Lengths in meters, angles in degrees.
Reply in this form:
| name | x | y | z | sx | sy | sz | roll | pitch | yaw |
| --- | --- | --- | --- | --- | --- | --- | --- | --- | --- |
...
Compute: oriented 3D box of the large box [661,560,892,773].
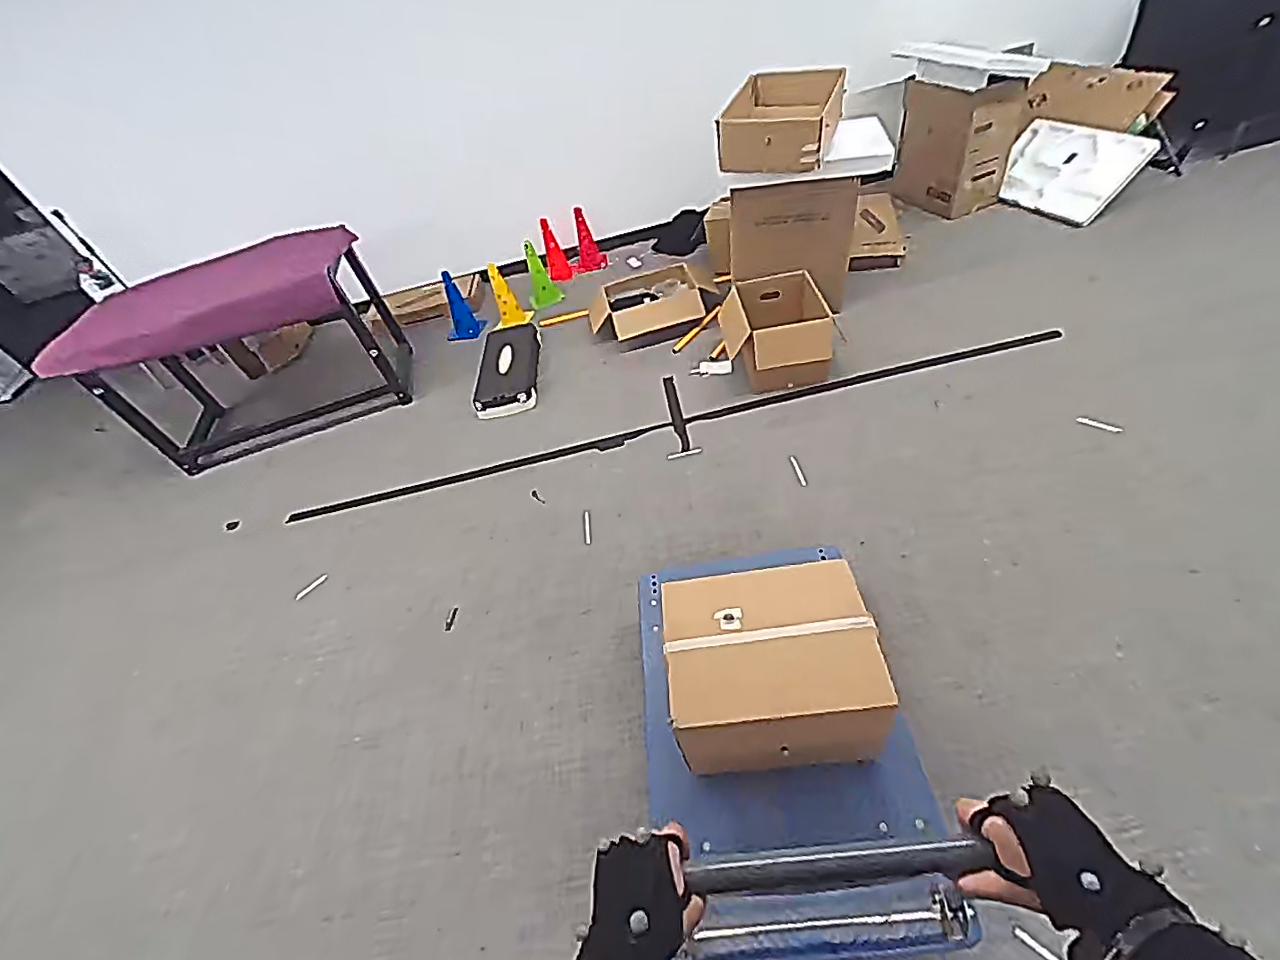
| name | x | y | z | sx | sy | sz | roll | pitch | yaw |
| --- | --- | --- | --- | --- | --- | --- | --- | --- | --- |
| large box | 0.280 | 0.418 | 1.190 | 0.408 | 0.320 | 0.320 | -10 | 45 | 7 |
